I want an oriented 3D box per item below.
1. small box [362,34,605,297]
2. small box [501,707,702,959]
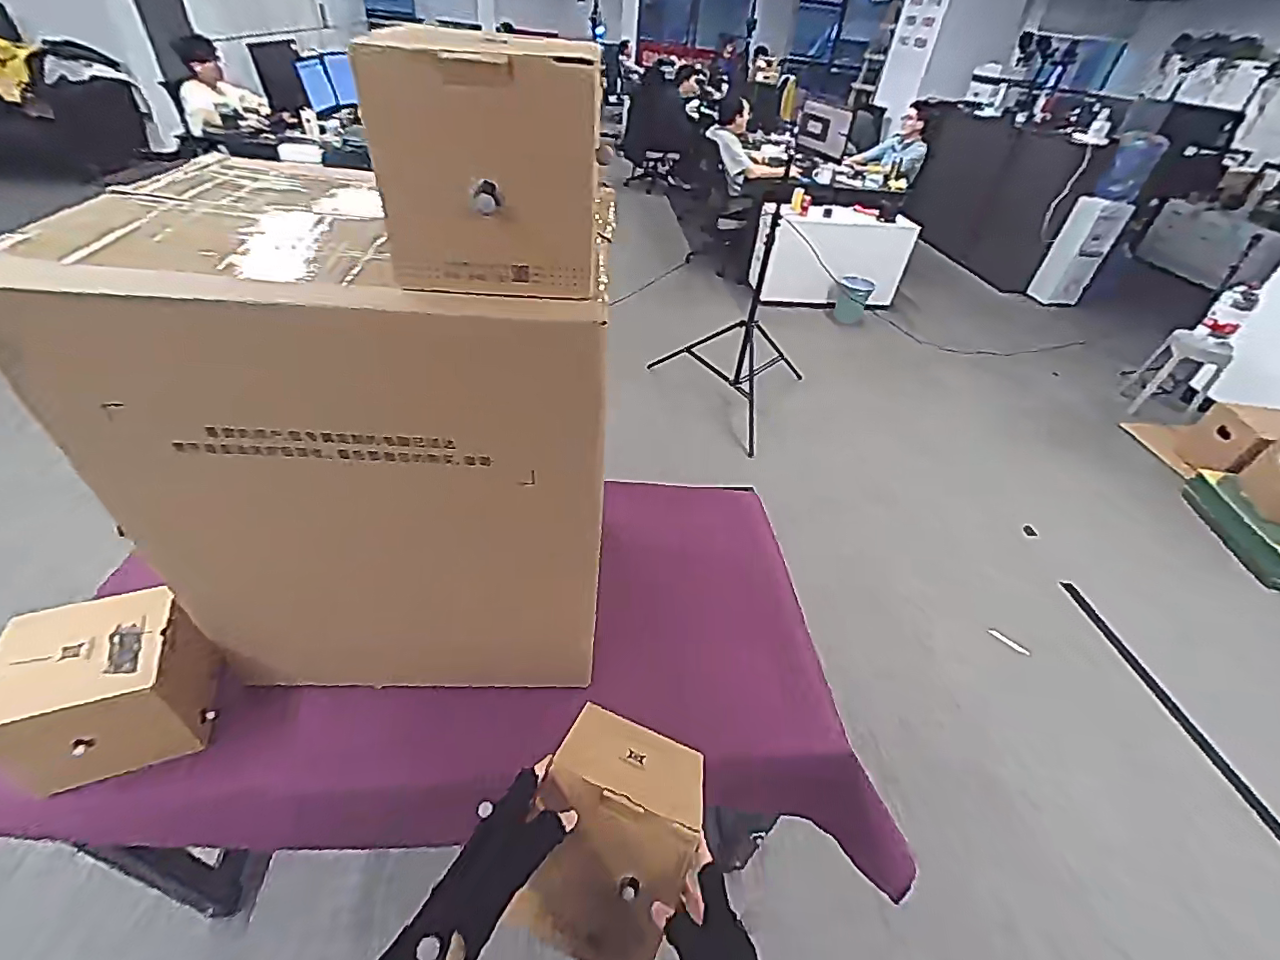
[{"bbox_3d":[-0.115,-0.277,0.480,0.168,0.176,0.179,1,42,-5],"label":"small box"},{"bbox_3d":[-0.036,0.394,0.611,0.168,0.179,0.176,22,87,7],"label":"small box"}]
